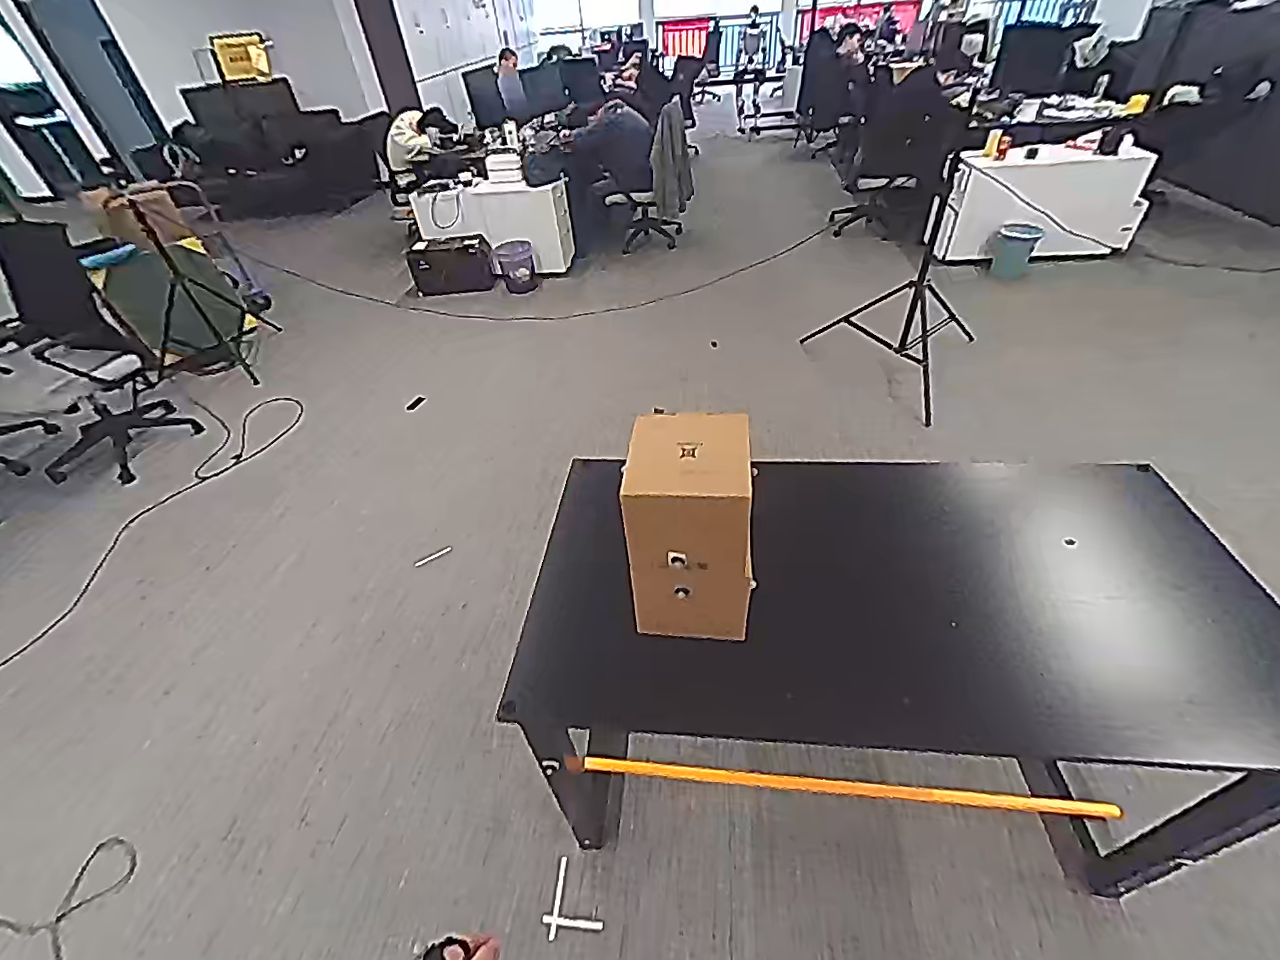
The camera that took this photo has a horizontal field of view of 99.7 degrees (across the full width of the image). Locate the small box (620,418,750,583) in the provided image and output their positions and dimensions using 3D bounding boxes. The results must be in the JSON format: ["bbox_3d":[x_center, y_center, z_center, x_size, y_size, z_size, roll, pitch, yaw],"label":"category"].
[{"bbox_3d":[0.070,0.026,0.786,0.168,0.176,0.179,0,43,8],"label":"small box"}]

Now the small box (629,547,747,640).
[{"bbox_3d":[0.084,0.147,0.894,0.179,0.176,0.168,2,42,8],"label":"small box"}]
